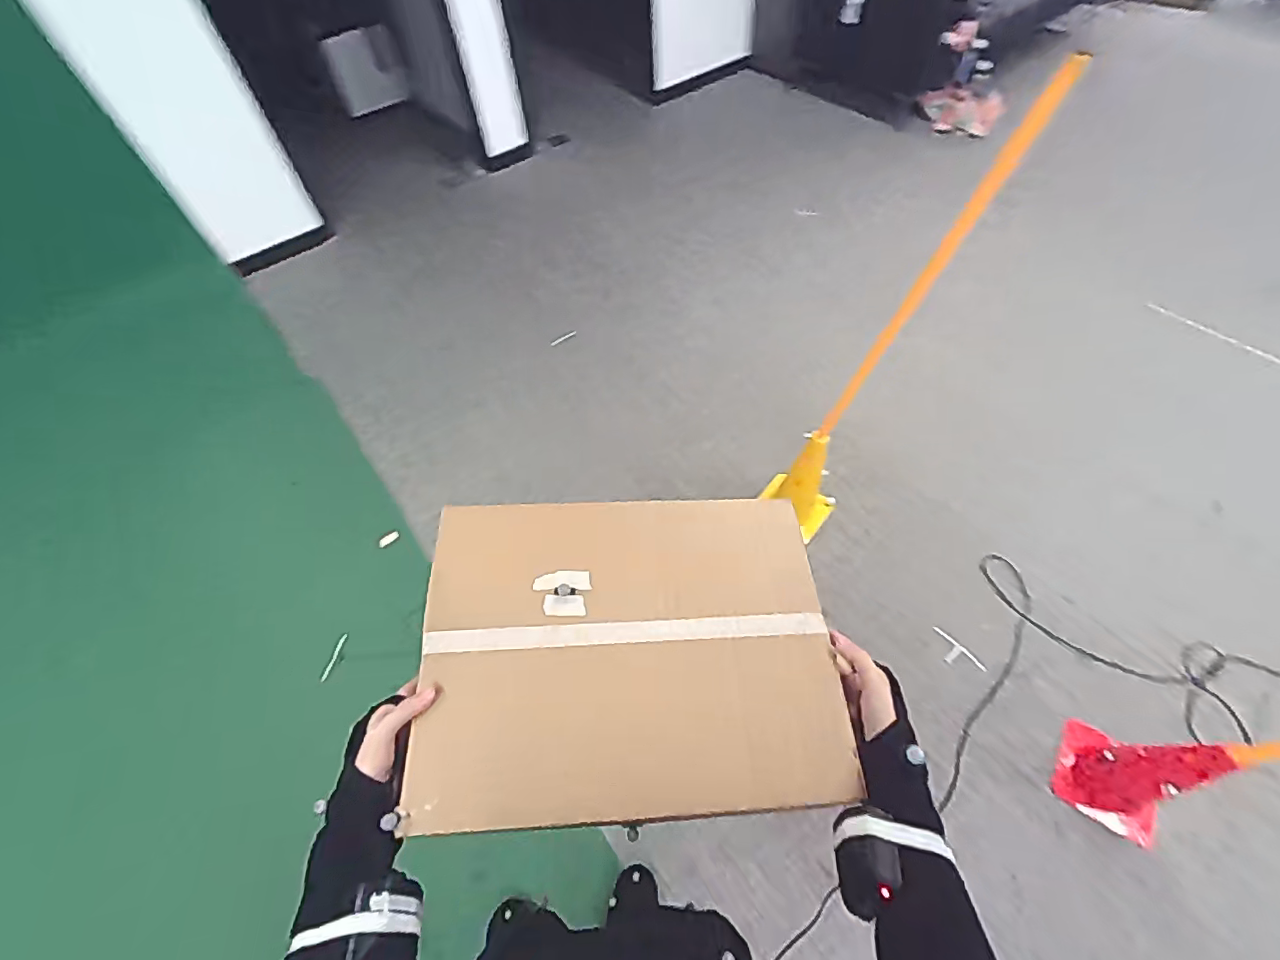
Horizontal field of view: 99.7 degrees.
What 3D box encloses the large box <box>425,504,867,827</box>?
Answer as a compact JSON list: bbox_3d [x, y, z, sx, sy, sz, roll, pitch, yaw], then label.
[{"bbox_3d":[-0.002,0.243,0.682,0.408,0.320,0.320,-1,56,-3],"label":"large box"}]
